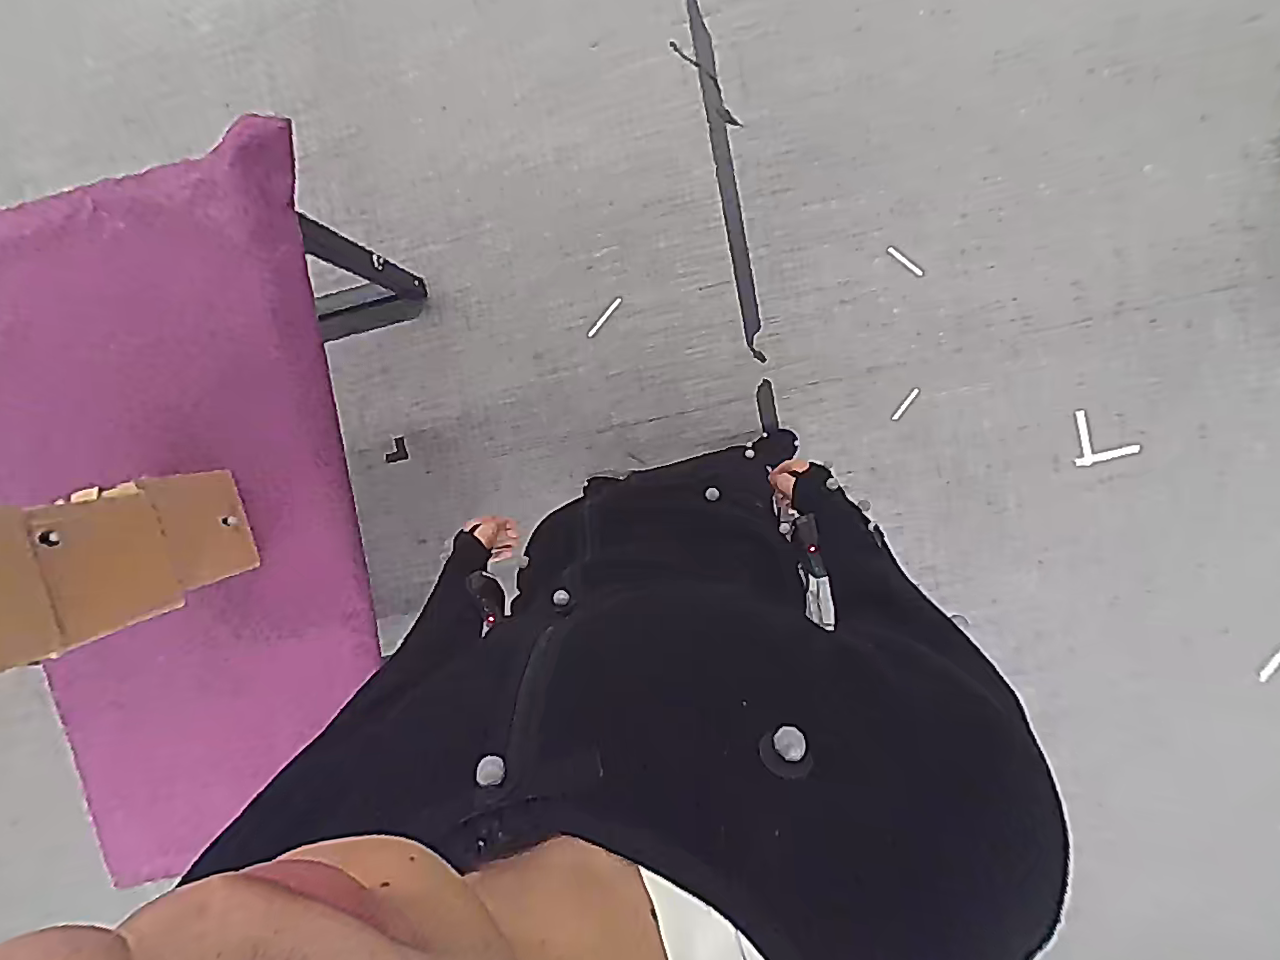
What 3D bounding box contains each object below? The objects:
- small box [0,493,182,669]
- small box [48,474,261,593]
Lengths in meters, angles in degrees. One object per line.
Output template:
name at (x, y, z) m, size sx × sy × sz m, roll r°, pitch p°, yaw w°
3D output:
small box at (-0.759, 0.127, 0.706) m, size 0.168 × 0.176 × 0.179 m, roll -14°, pitch 95°, yaw 6°
small box at (-0.761, 0.092, 0.866) m, size 0.168 × 0.176 × 0.179 m, roll -14°, pitch 95°, yaw 7°
